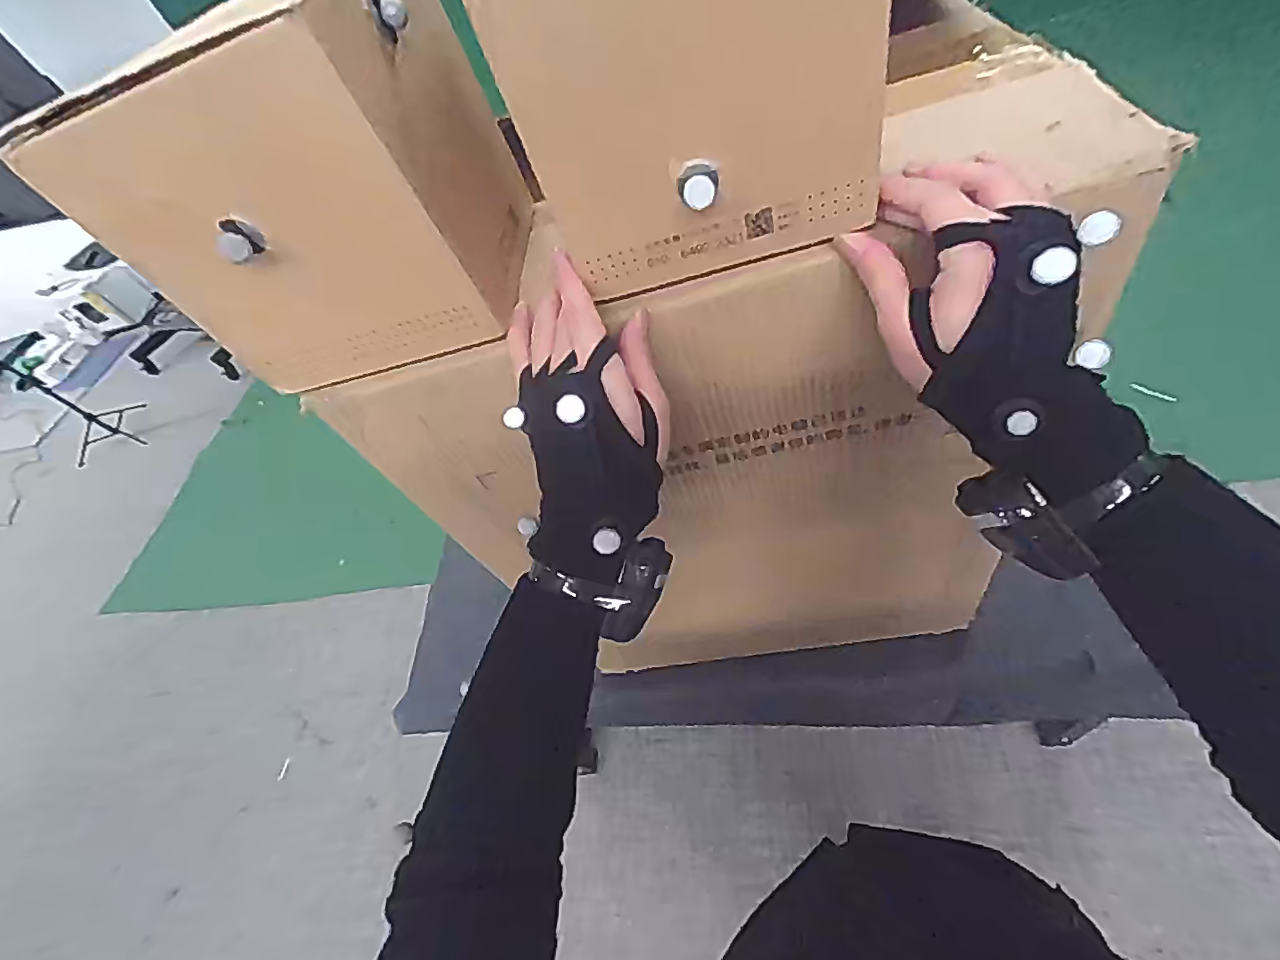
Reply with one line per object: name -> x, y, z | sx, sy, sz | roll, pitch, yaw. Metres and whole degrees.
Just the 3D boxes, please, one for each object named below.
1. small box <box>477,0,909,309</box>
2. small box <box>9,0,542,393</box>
small box -> 0.029, -0.224, 0.291 | 0.168, 0.176, 0.179 | -10, 54, 12
small box -> -0.182, -0.175, 0.334 | 0.179, 0.176, 0.168 | -11, 53, 13
